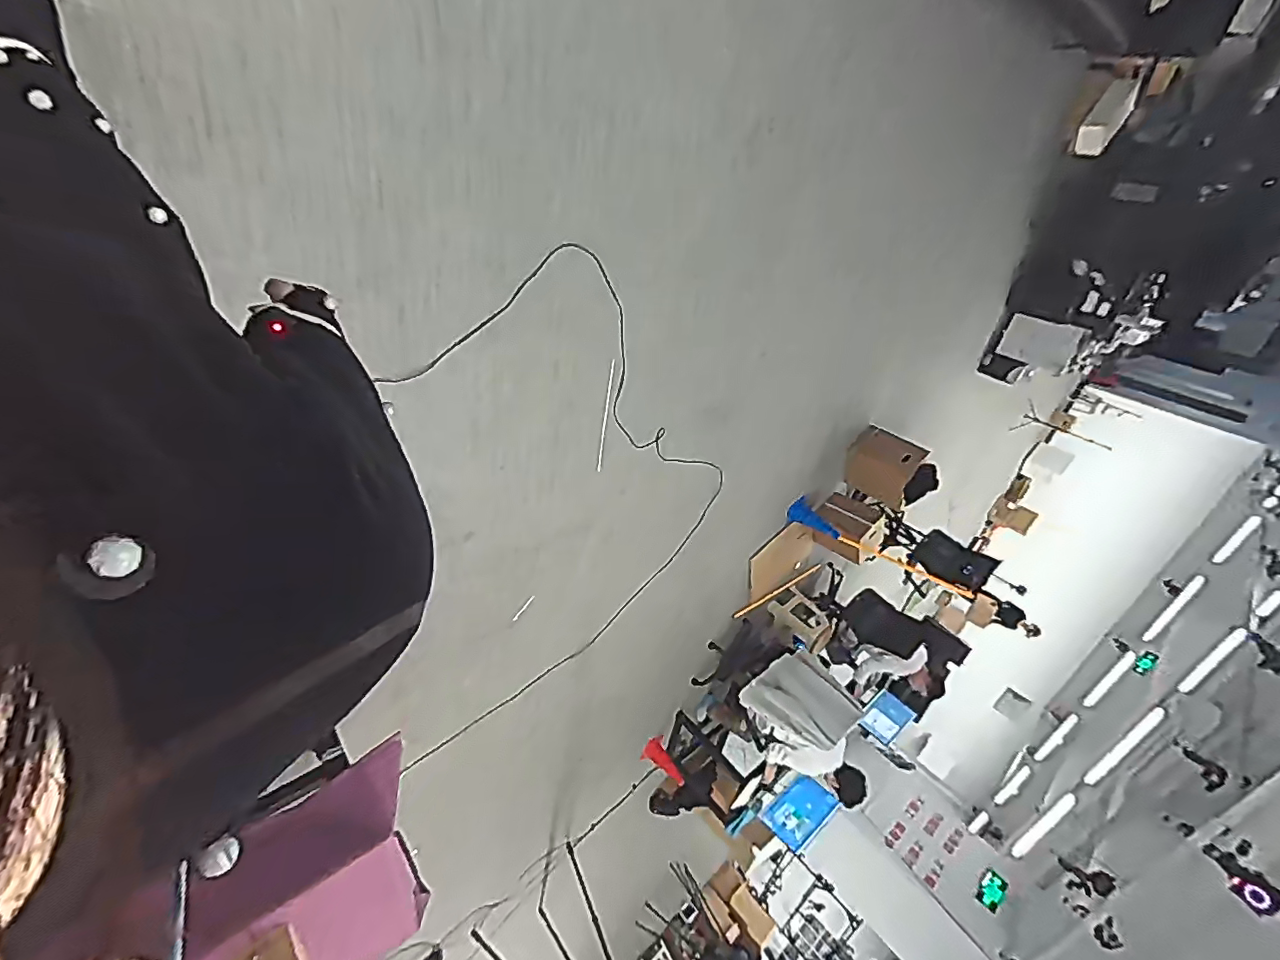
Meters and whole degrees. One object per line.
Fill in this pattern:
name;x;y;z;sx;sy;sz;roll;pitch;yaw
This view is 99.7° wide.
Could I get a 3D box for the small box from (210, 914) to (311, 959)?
small box;-0.794;1.079;1.143;0.168;0.176;0.179;-20;132;-38
